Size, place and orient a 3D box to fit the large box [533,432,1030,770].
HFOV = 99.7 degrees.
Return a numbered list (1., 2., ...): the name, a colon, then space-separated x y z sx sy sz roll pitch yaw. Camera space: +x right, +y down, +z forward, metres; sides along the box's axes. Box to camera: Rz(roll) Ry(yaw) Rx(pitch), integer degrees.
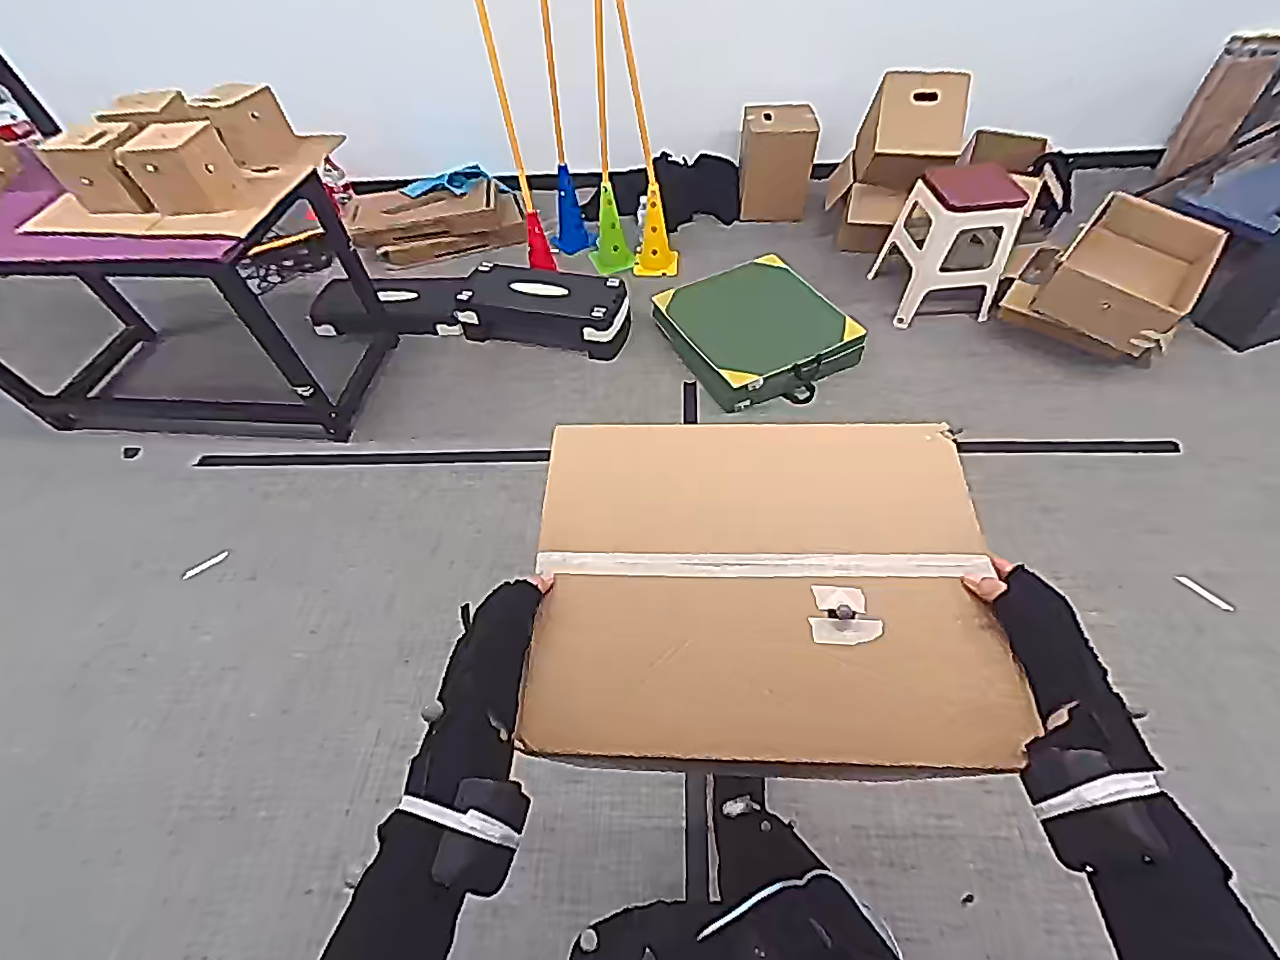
1. large box: 0.118 0.157 0.633 0.408 0.320 0.320 0 61 4
